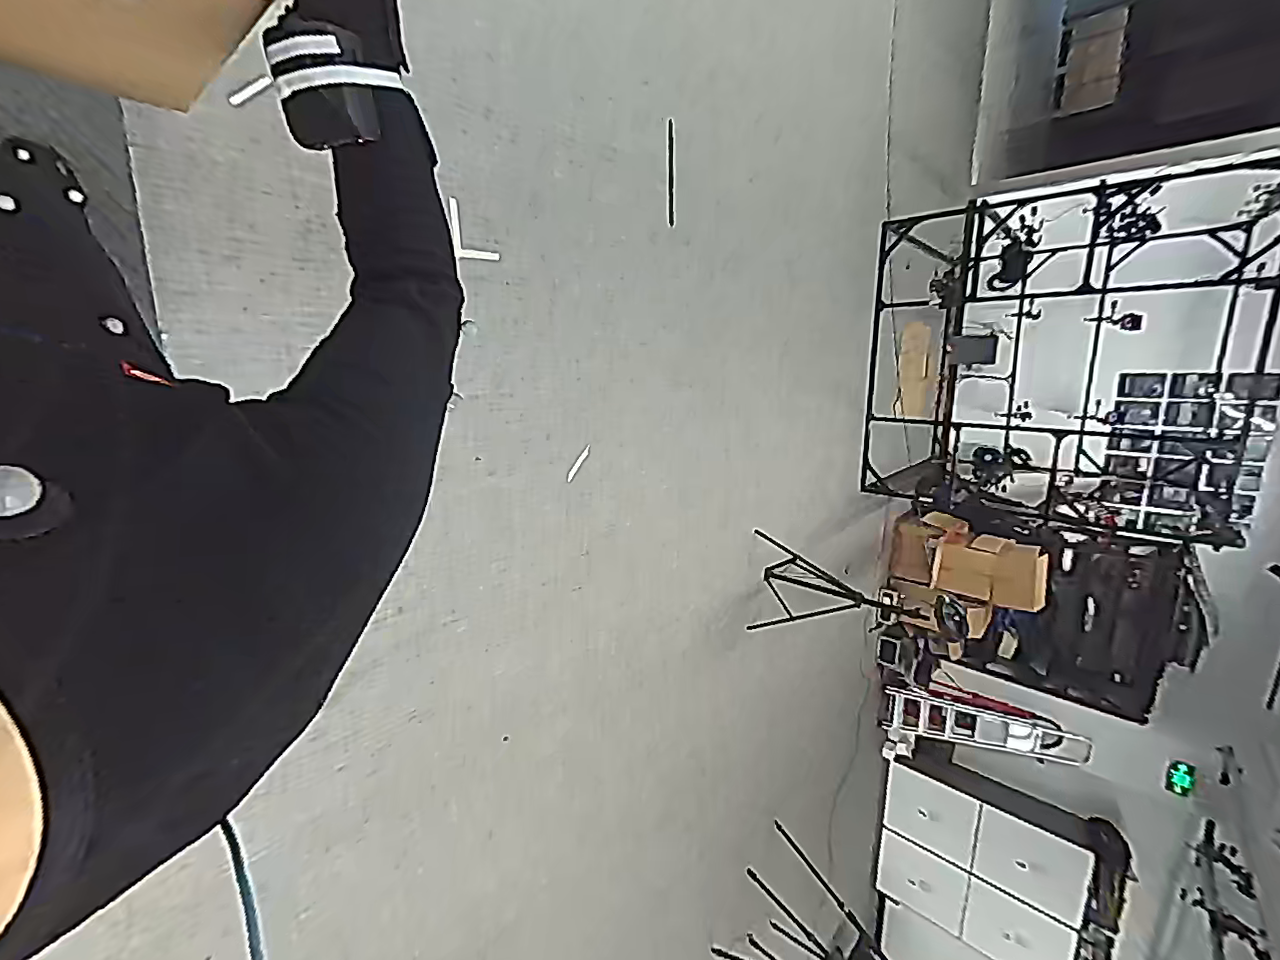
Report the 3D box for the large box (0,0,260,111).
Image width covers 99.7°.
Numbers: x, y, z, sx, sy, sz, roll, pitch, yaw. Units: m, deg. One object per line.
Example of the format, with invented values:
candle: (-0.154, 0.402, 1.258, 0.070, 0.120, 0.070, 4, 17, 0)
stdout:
large box: (-0.470, -0.442, 0.254, 0.408, 0.320, 0.320, -13, 112, -46)
